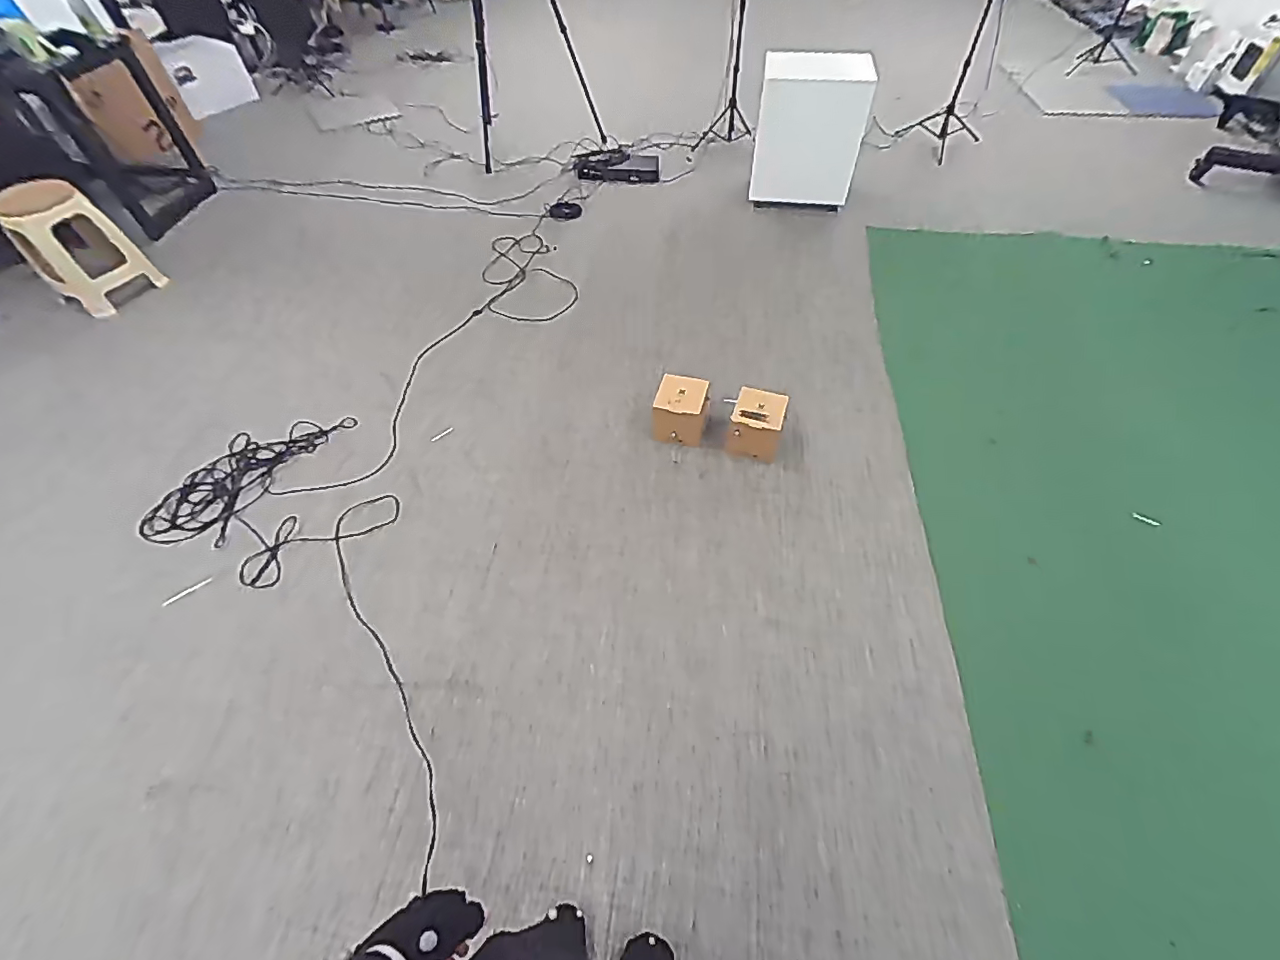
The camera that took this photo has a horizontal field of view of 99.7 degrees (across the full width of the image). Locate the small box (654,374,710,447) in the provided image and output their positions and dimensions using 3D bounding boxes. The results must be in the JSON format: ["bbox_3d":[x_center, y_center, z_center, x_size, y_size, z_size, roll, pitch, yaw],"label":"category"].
[{"bbox_3d":[0.148,-0.247,1.928,0.168,0.176,0.179,12,54,11],"label":"small box"}]
